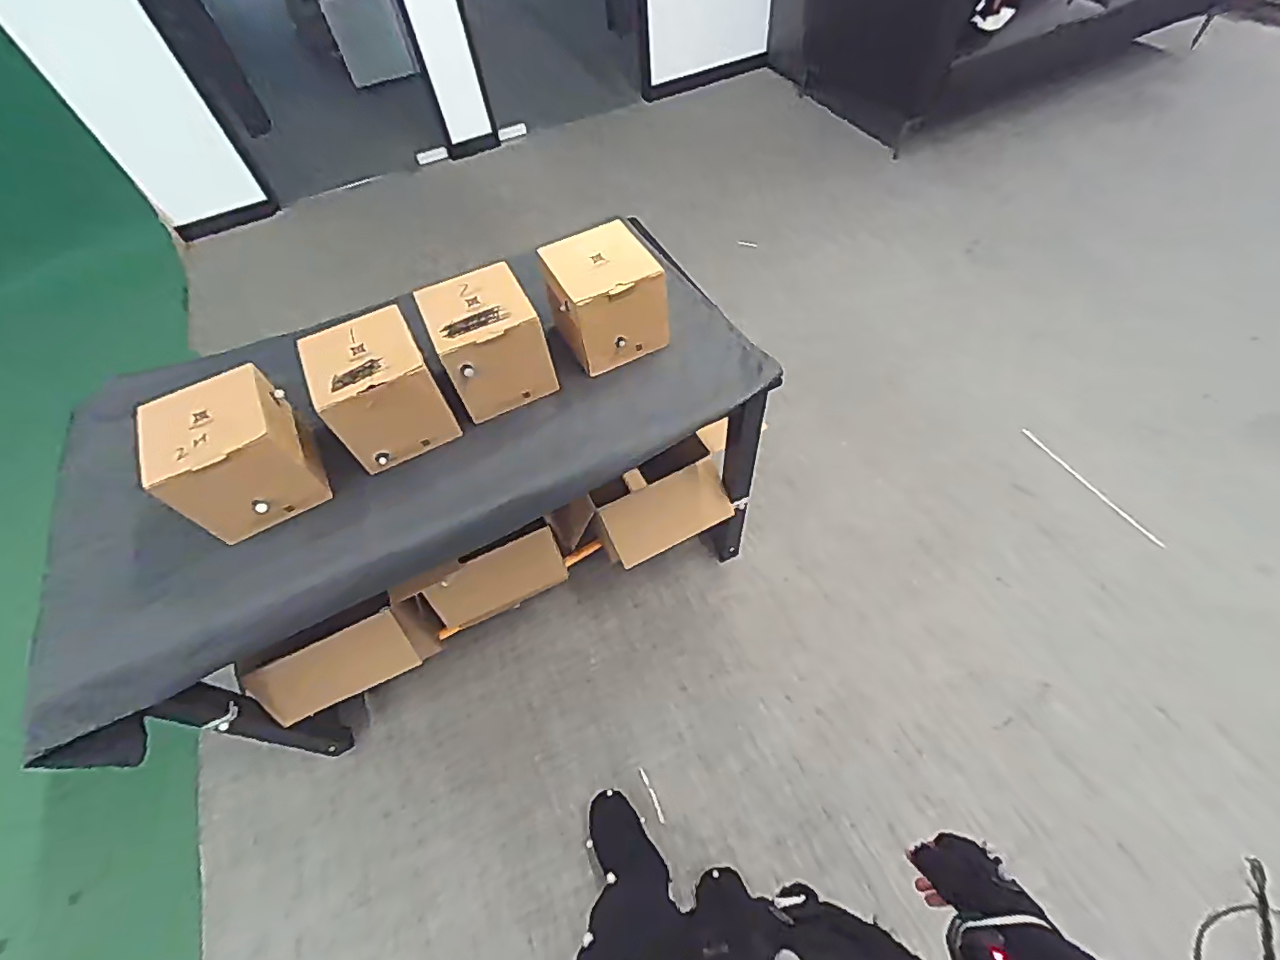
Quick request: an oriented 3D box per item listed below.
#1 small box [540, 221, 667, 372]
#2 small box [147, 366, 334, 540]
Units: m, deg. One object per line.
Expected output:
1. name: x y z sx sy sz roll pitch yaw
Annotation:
1. small box: -0.063 -0.331 0.988 0.168 0.176 0.179 -26 59 -11
2. small box: -0.616 -0.039 0.846 0.168 0.176 0.179 -29 59 -13
